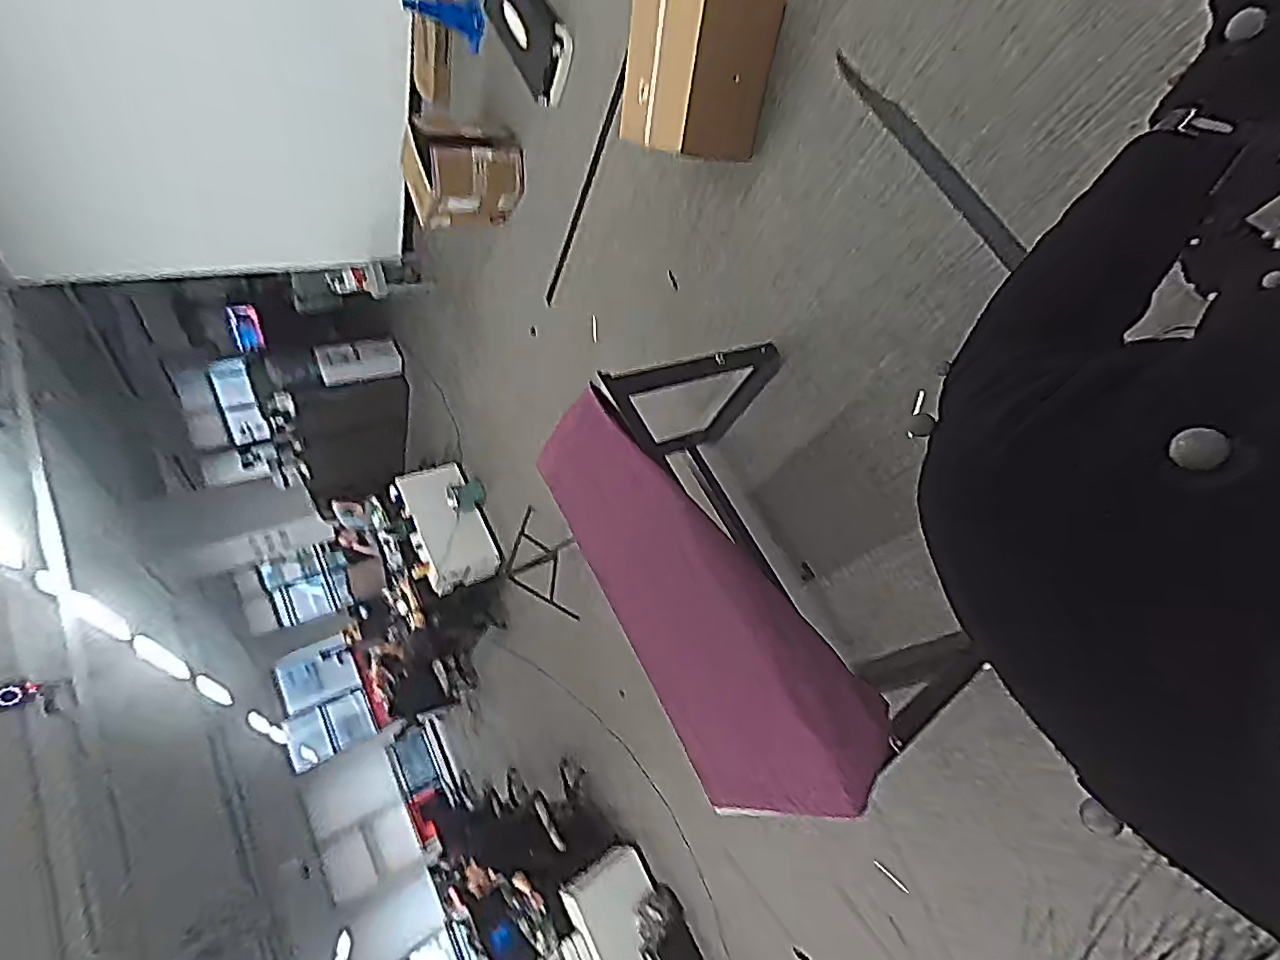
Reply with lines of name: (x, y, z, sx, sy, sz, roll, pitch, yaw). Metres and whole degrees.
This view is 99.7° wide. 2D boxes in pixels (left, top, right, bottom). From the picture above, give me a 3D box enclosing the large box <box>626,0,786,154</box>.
large box: (0.184, -1.236, 1.619, 0.320, 0.320, 0.408, 43, 139, 37)
